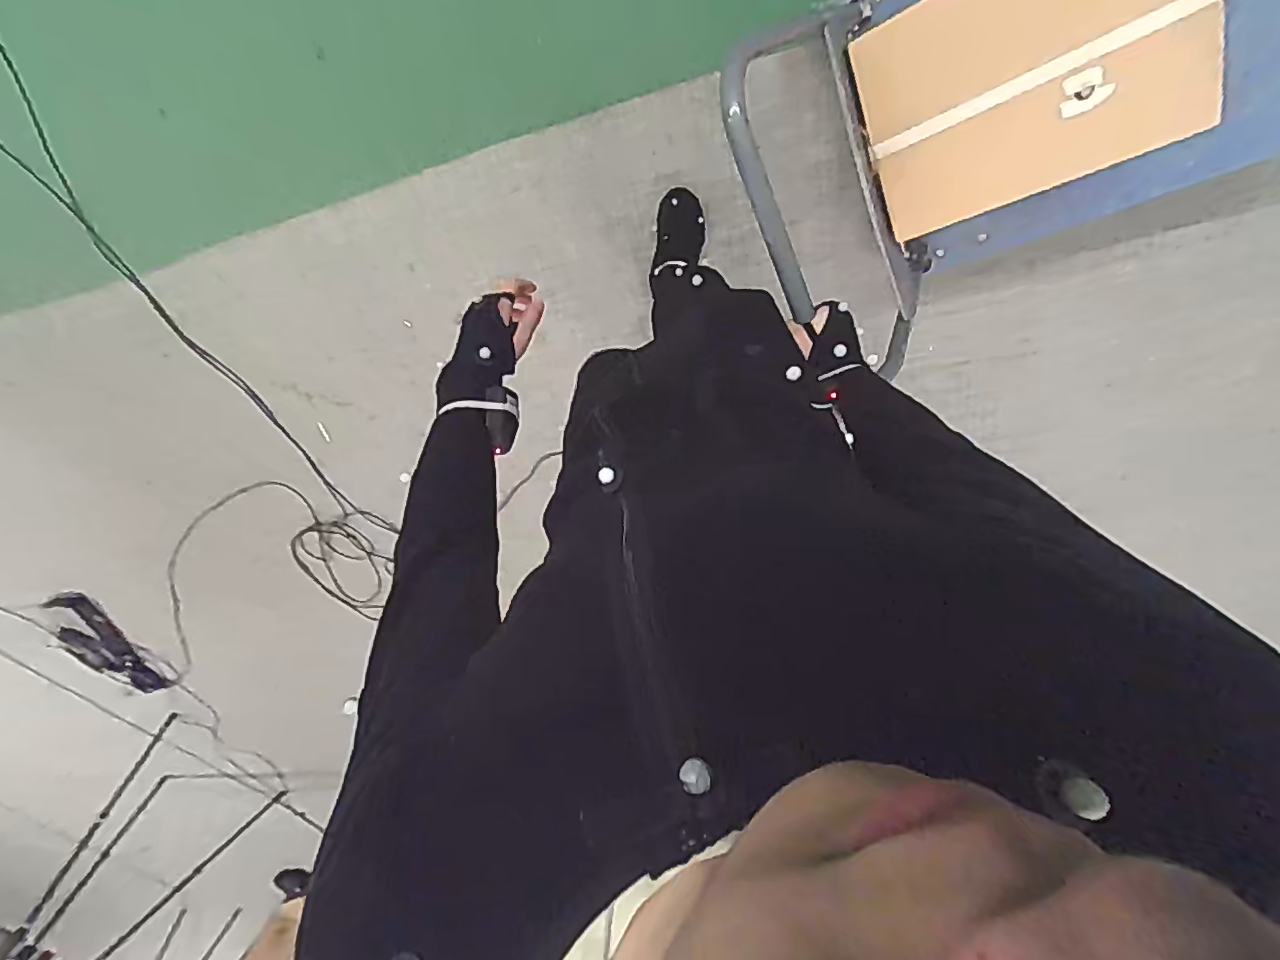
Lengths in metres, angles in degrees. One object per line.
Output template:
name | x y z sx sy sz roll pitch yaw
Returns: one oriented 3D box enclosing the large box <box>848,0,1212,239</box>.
large box | 0.600 -0.661 0.888 0.408 0.320 0.320 -11 120 33
